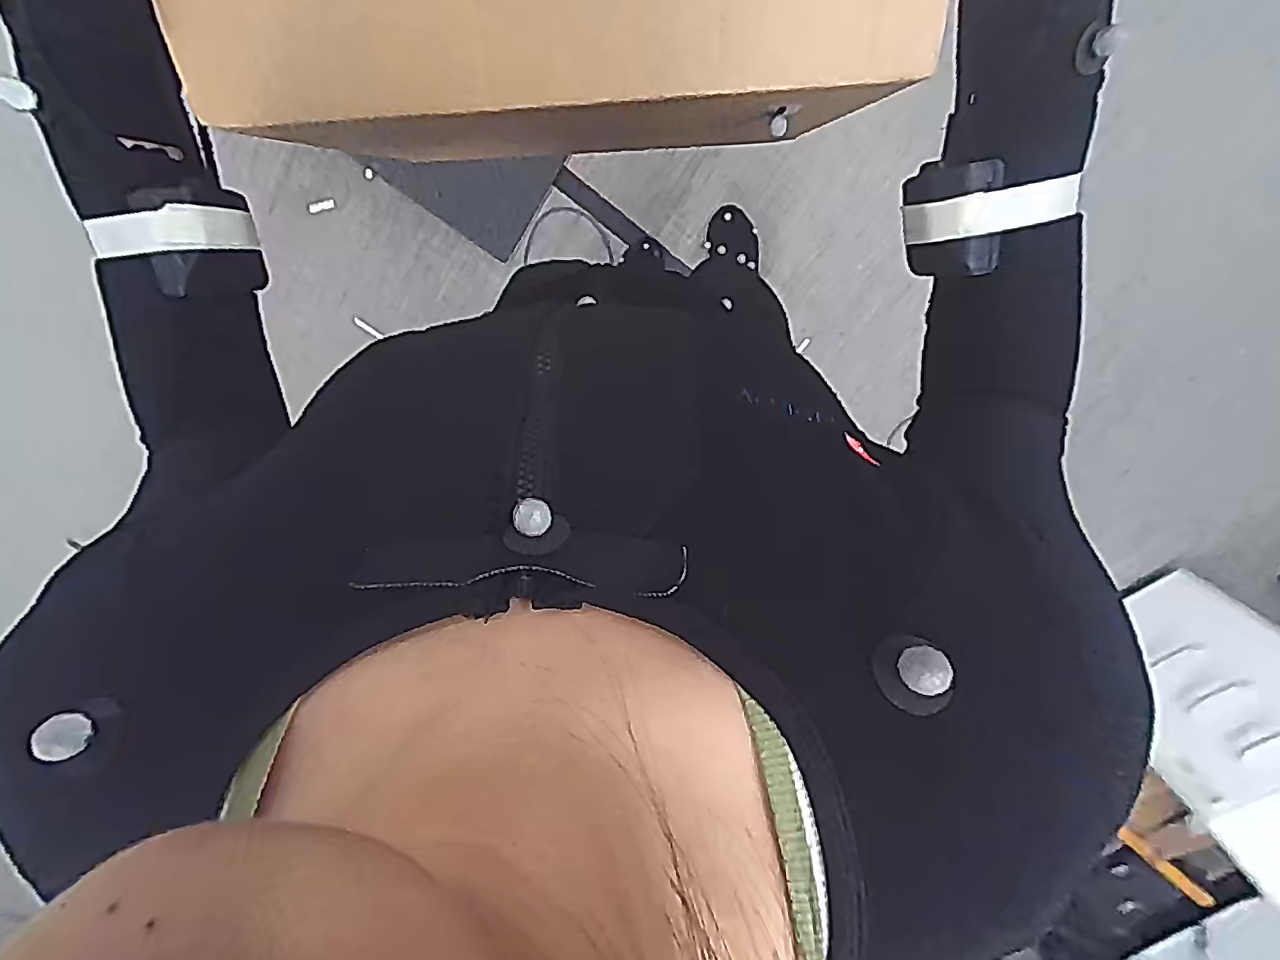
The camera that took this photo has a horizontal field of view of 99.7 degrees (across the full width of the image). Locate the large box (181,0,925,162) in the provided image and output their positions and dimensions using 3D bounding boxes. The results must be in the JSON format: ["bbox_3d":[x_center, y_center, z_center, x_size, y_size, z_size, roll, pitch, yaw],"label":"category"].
[{"bbox_3d":[-0.052,-0.419,0.371,0.408,0.320,0.320,-3,117,3],"label":"large box"}]

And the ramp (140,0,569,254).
[{"bbox_3d":[-0.592,-0.975,1.094,0.991,0.206,0.509,33,111,-10],"label":"ramp"}]
